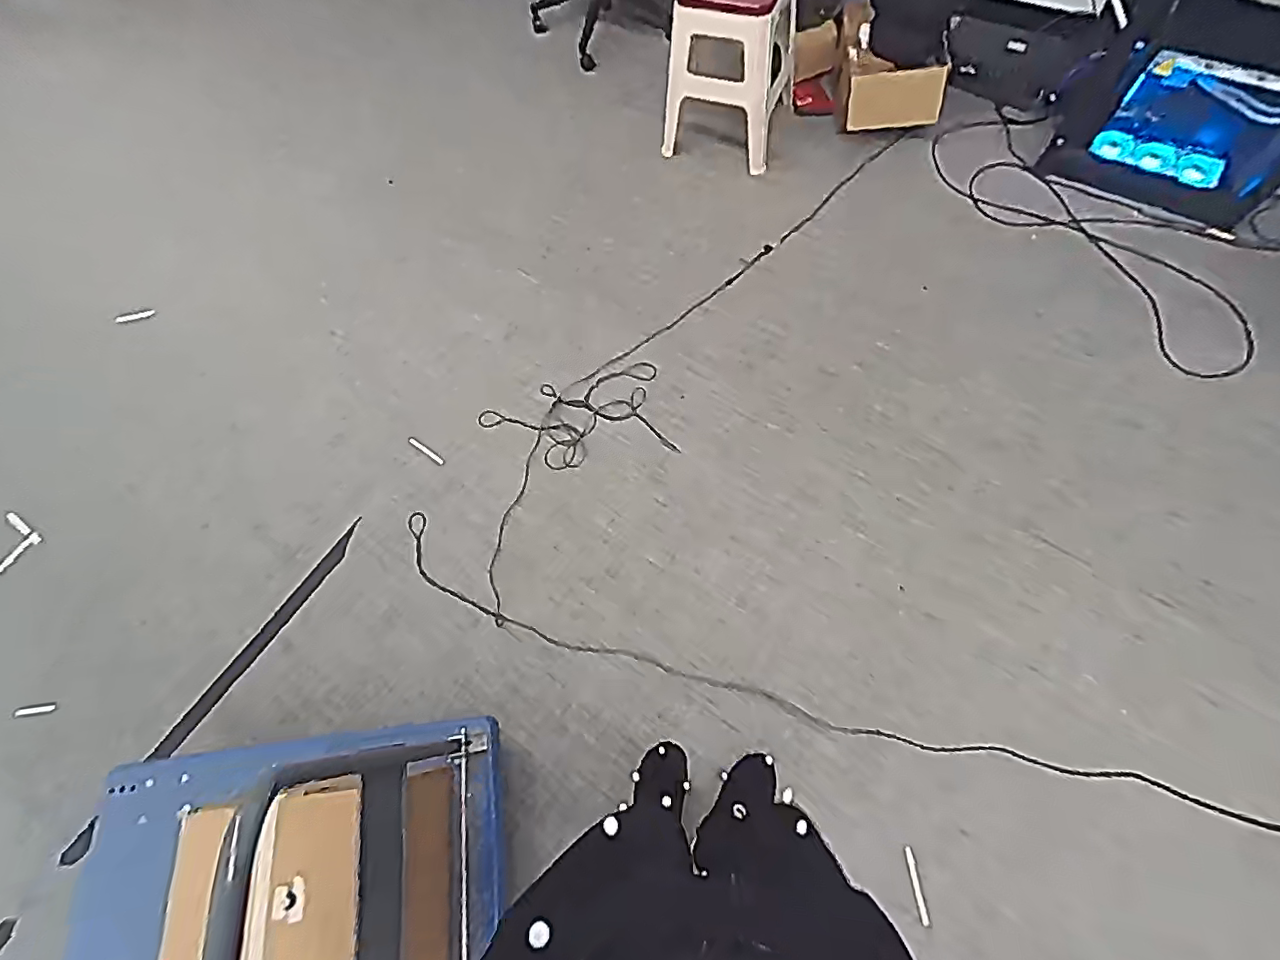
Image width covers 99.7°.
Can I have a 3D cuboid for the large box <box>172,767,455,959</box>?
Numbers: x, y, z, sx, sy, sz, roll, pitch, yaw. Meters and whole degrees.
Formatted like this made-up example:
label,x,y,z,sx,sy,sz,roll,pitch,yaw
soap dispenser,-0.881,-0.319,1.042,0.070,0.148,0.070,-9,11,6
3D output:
label,x,y,z,sx,sy,sz,roll,pitch,yaw
large box,-0.528,0.749,0.926,0.320,0.320,0.408,-9,67,1
